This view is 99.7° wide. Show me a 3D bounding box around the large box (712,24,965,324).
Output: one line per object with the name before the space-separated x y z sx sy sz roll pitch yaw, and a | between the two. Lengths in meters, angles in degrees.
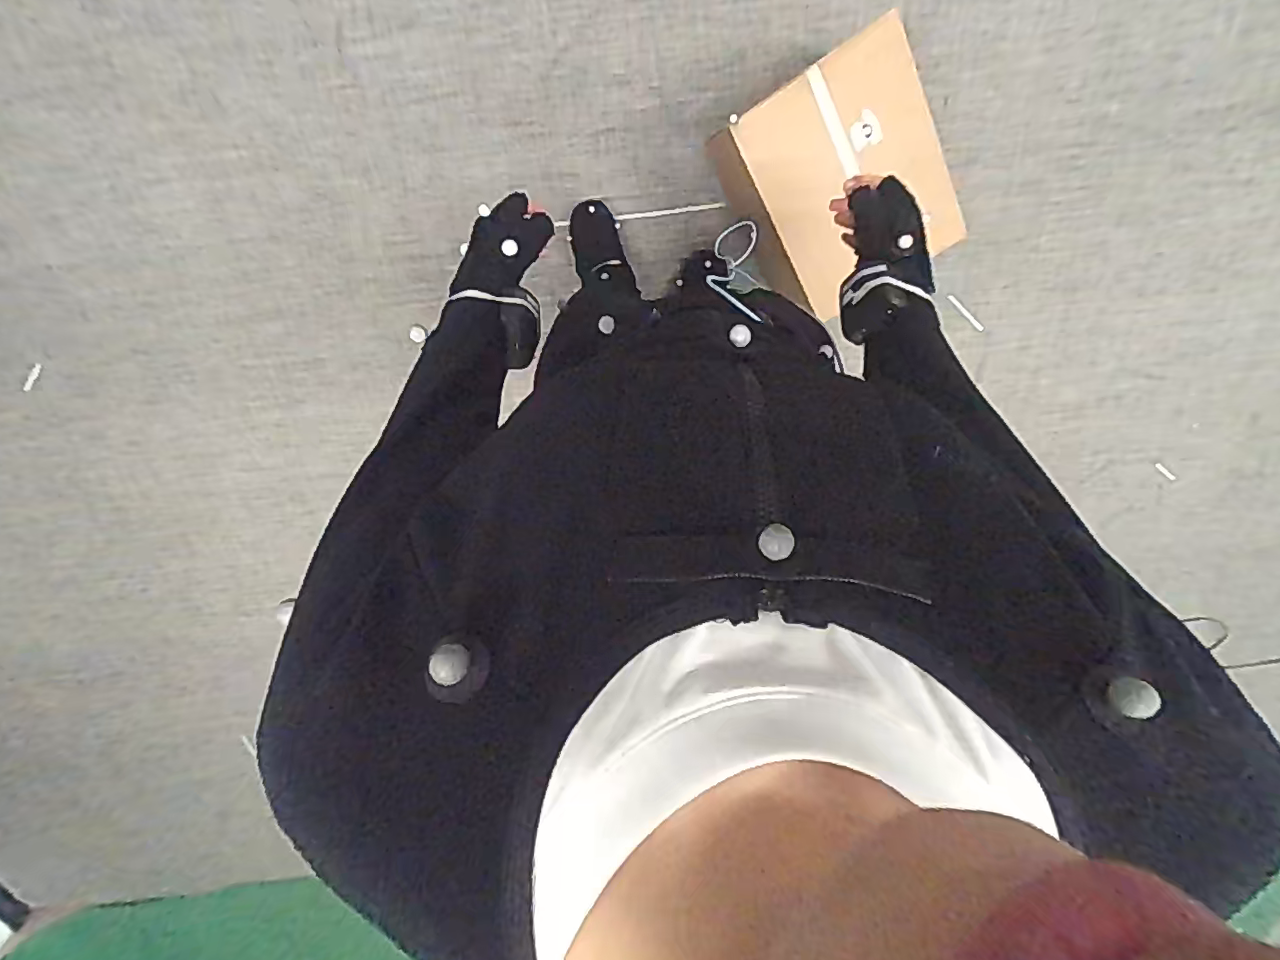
large box | 0.395 -0.604 1.138 0.320 0.320 0.408 -30 113 12
